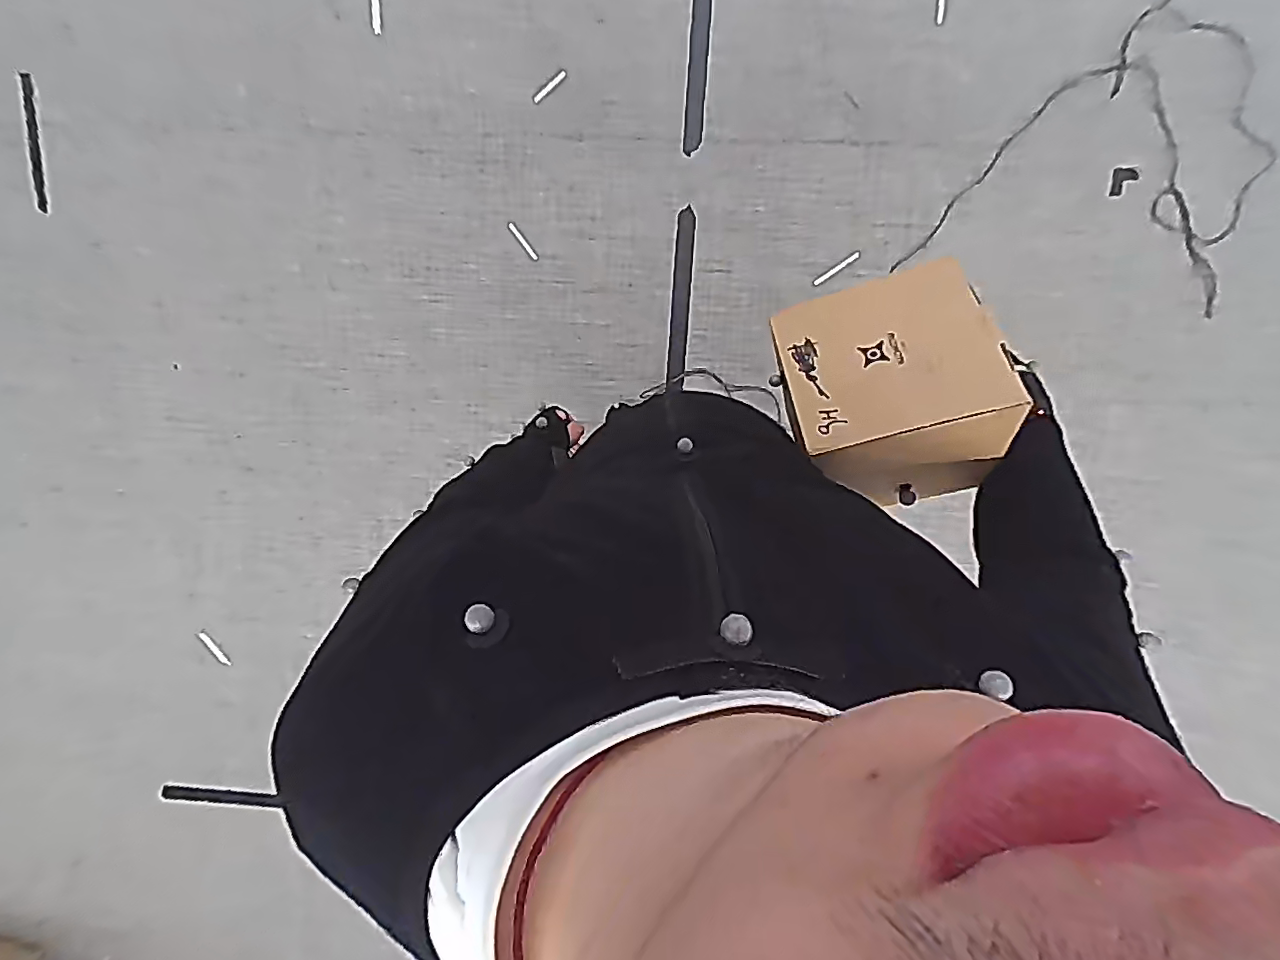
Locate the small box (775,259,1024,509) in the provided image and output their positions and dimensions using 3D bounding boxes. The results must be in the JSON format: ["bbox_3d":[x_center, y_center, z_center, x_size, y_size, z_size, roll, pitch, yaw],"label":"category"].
[{"bbox_3d":[0.250,-0.086,0.563,0.179,0.176,0.168,-14,62,14],"label":"small box"}]
